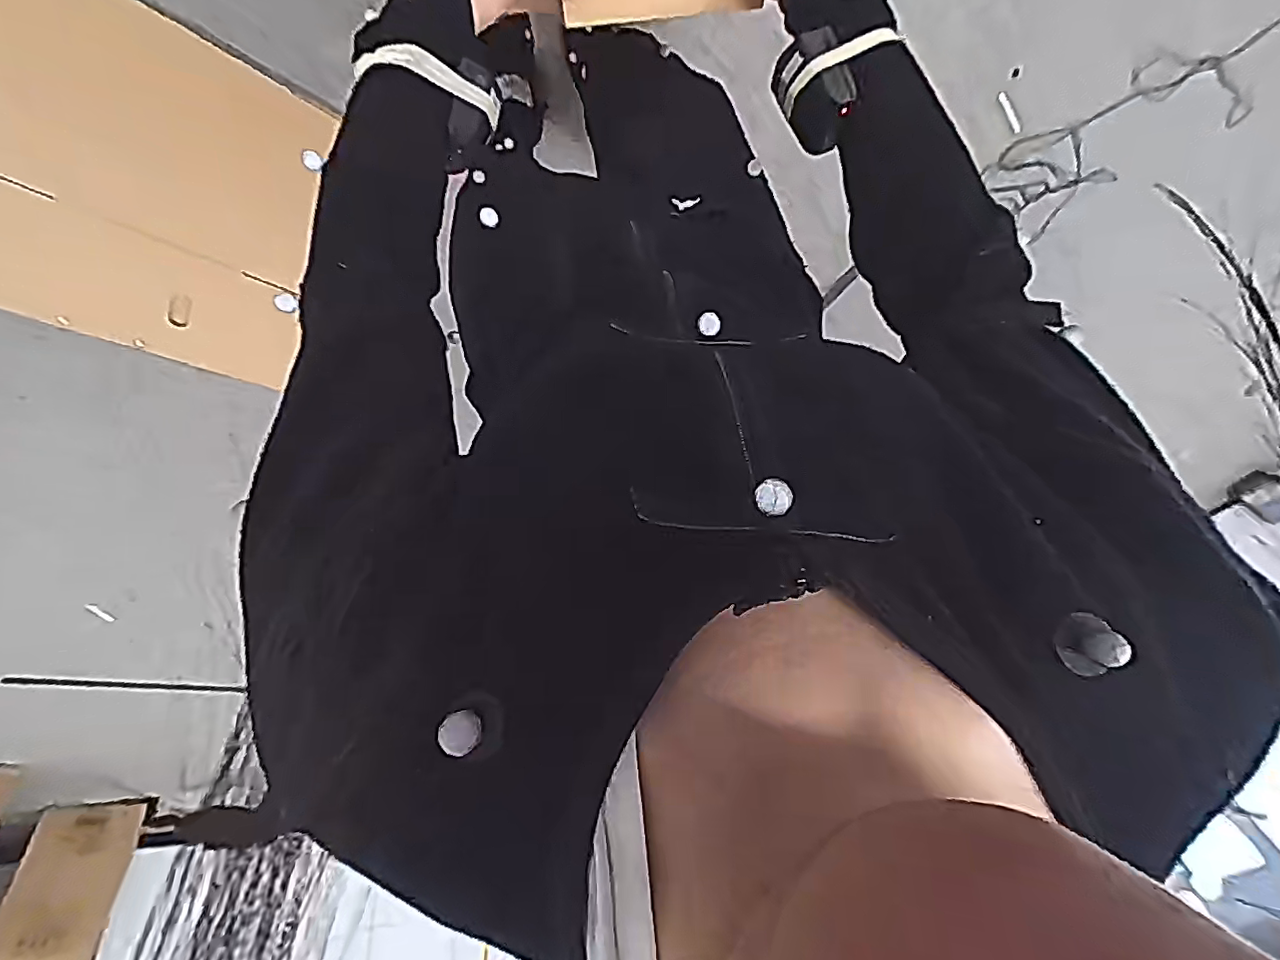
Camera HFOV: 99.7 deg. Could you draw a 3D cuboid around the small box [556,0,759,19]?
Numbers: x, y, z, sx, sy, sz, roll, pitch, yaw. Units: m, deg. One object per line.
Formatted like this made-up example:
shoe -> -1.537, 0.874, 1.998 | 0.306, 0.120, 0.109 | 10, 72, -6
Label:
small box -> -0.001, -0.483, 0.411 | 0.168, 0.176, 0.179 | -13, 139, -8
